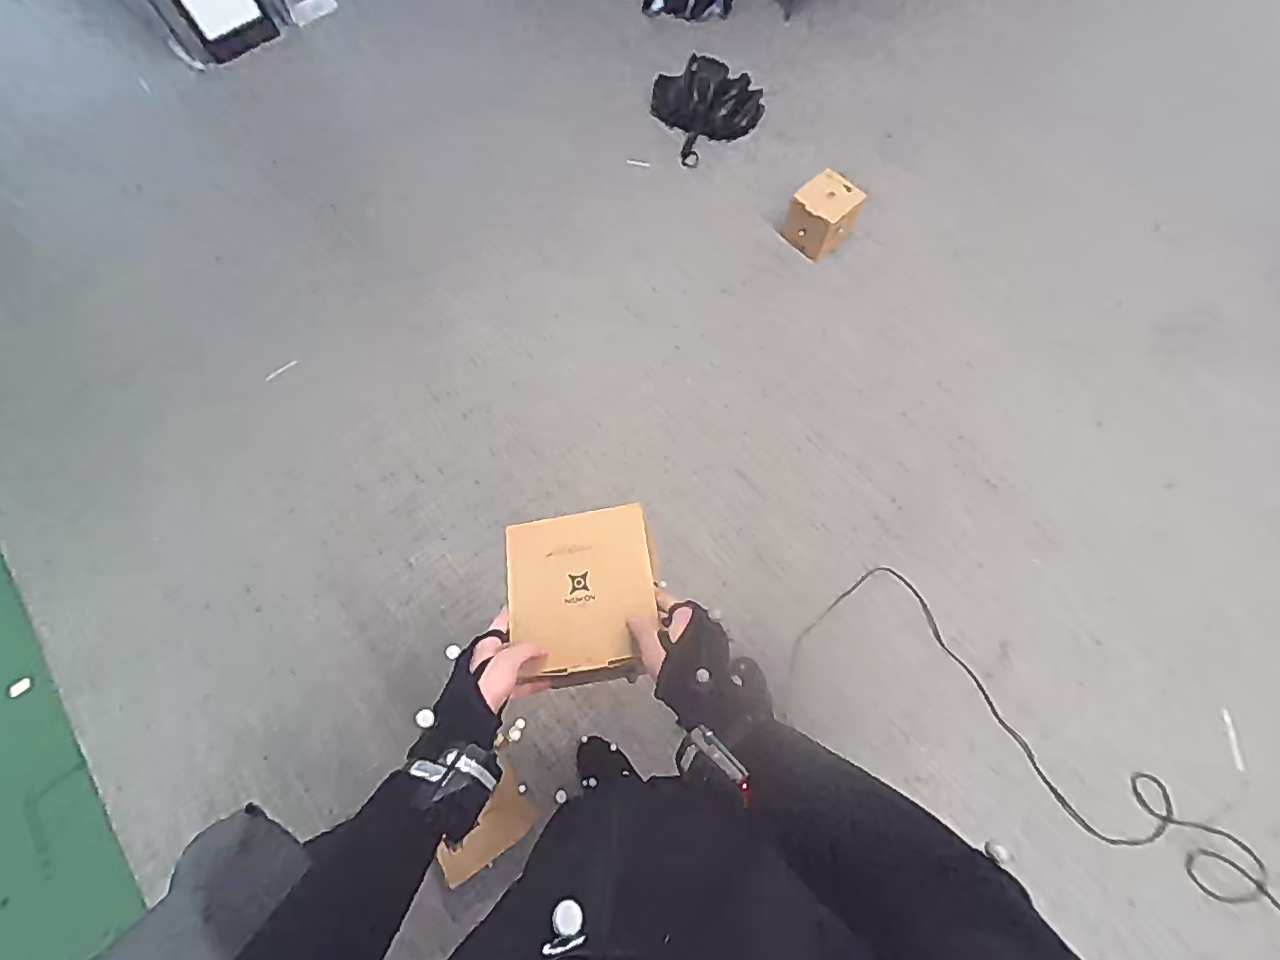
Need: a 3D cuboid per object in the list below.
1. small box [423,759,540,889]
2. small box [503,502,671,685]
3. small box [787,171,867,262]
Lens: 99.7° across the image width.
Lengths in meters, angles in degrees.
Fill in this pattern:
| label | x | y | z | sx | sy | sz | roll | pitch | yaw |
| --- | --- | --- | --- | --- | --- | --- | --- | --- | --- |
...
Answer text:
| label | x | y | z | sx | sy | sz | roll | pitch | yaw |
| --- | --- | --- | --- | --- | --- | --- | --- | --- | --- |
| small box | -0.348 | 0.761 | 1.218 | 0.179 | 0.176 | 0.168 | -32 | 72 | -11 |
| small box | -0.060 | 0.150 | 0.671 | 0.168 | 0.176 | 0.179 | -11 | 63 | 3 |
| small box | 0.606 | -0.864 | 1.789 | 0.179 | 0.176 | 0.168 | -42 | 75 | -12 |
